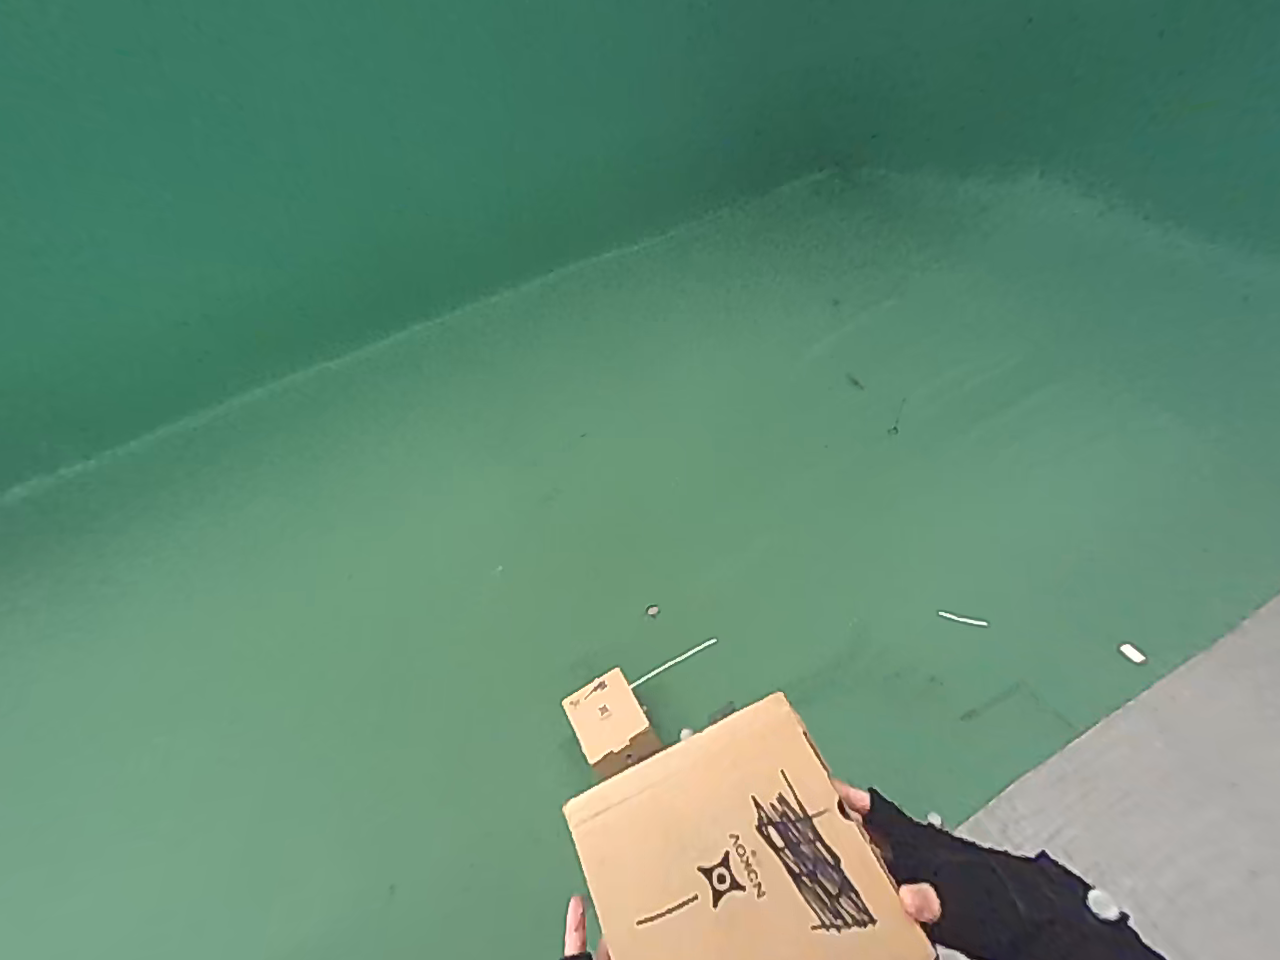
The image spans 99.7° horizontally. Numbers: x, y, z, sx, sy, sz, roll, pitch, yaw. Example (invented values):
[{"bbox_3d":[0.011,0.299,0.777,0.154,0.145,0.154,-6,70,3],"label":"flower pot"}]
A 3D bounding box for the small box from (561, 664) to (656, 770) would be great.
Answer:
[{"bbox_3d":[-0.075,0.608,1.371,0.168,0.176,0.179,-27,50,-12],"label":"small box"}]
